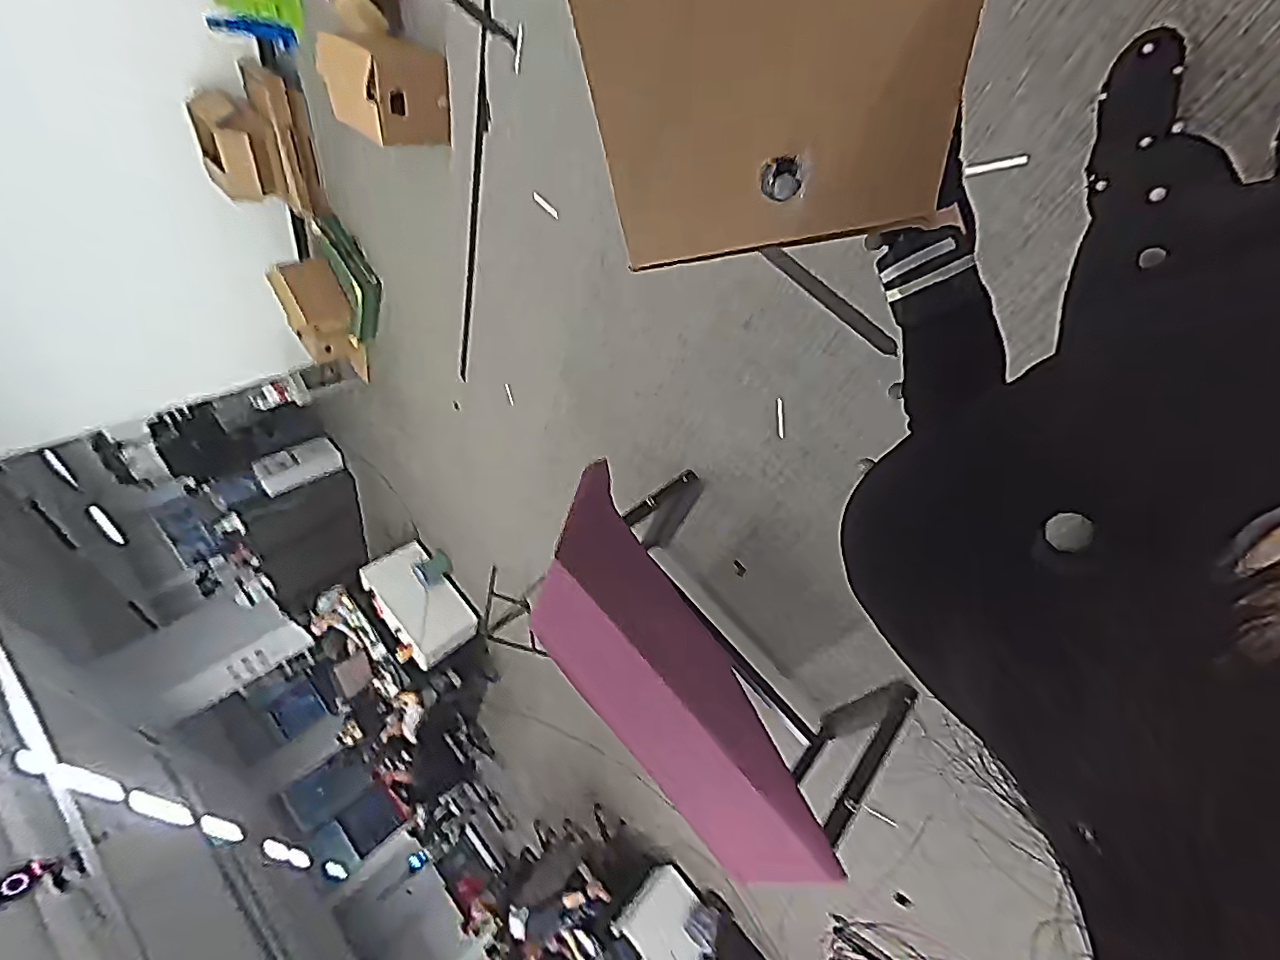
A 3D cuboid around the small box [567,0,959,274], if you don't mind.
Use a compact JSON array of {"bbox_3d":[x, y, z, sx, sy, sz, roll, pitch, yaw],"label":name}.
[{"bbox_3d":[0.064,-0.250,0.306,0.179,0.168,0.176,-5,141,12],"label":"small box"}]
